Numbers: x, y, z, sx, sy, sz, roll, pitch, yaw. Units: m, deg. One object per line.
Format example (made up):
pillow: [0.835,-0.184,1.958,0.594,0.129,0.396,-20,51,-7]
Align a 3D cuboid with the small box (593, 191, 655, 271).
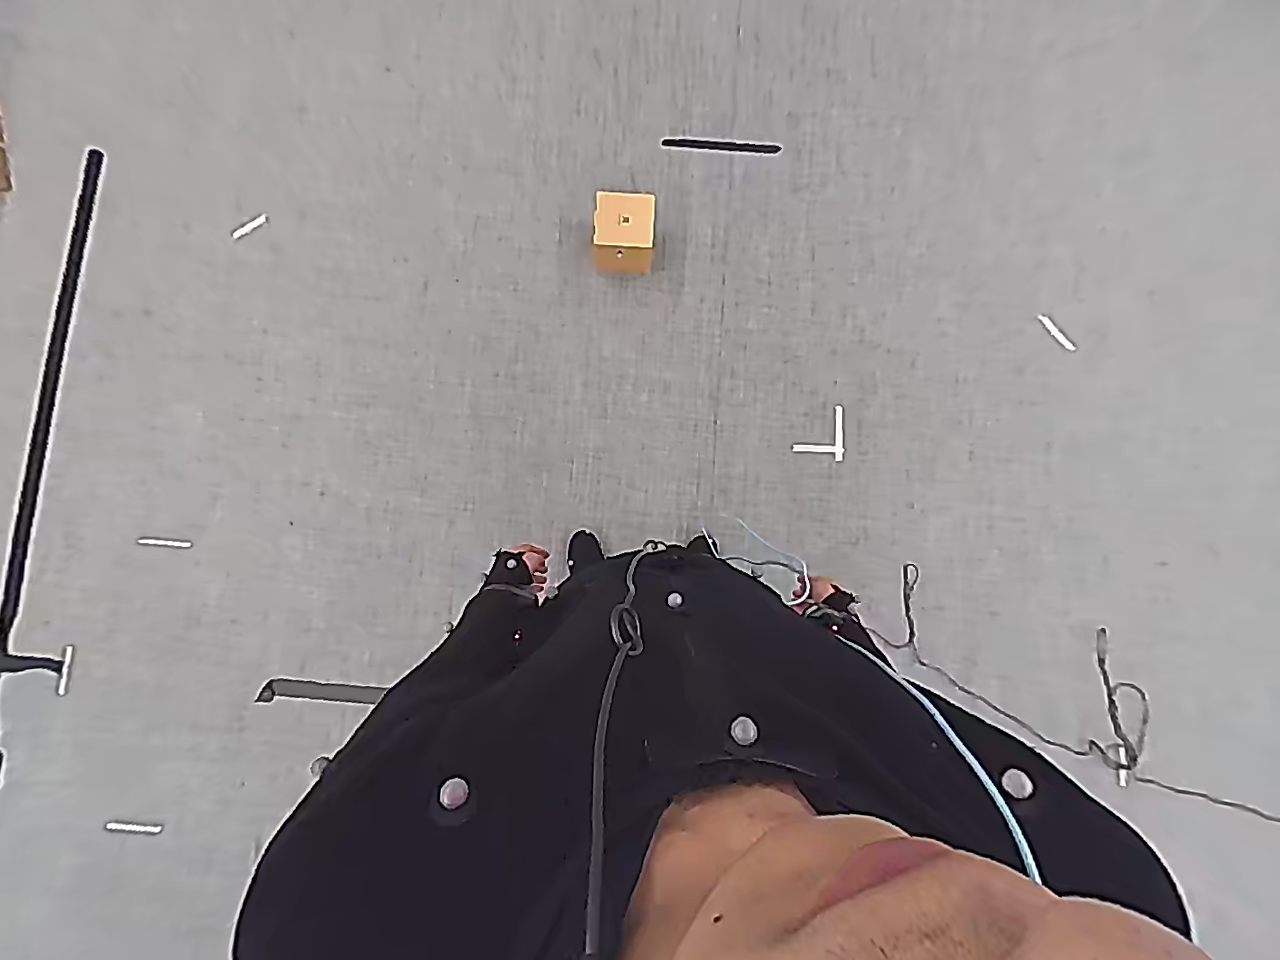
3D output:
small box: [-0.047,-0.759,1.665,0.179,0.176,0.168,3,85,0]
